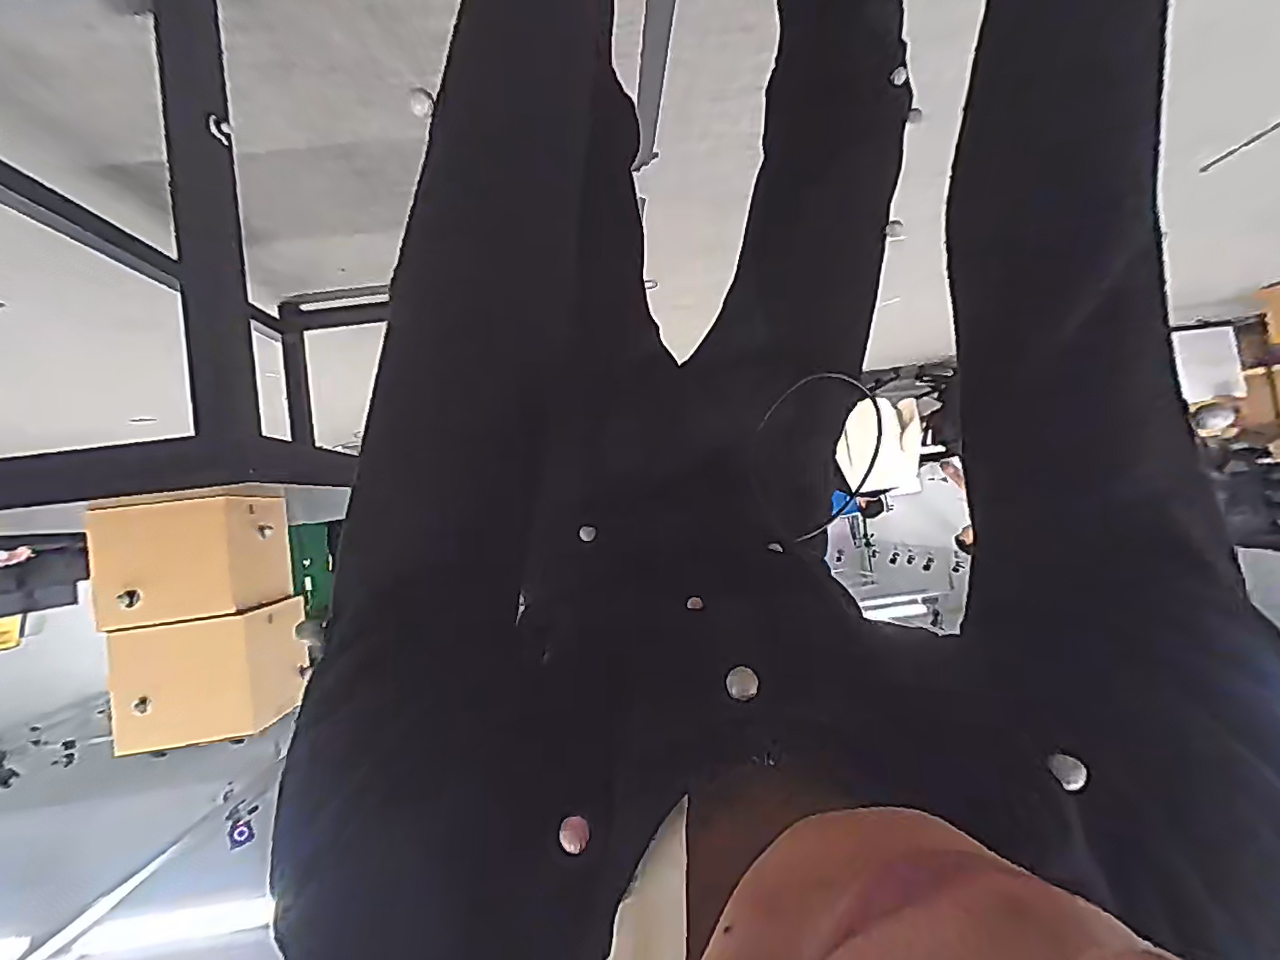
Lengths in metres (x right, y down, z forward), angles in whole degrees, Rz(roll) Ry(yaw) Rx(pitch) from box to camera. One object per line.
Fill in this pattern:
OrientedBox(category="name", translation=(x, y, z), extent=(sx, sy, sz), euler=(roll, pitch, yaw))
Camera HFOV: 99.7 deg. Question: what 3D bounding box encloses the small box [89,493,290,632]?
OrientedBox(category="small box", translation=(-0.658, 0.115, 0.804), extent=(0.179, 0.176, 0.168), euler=(-7, 178, -8))
